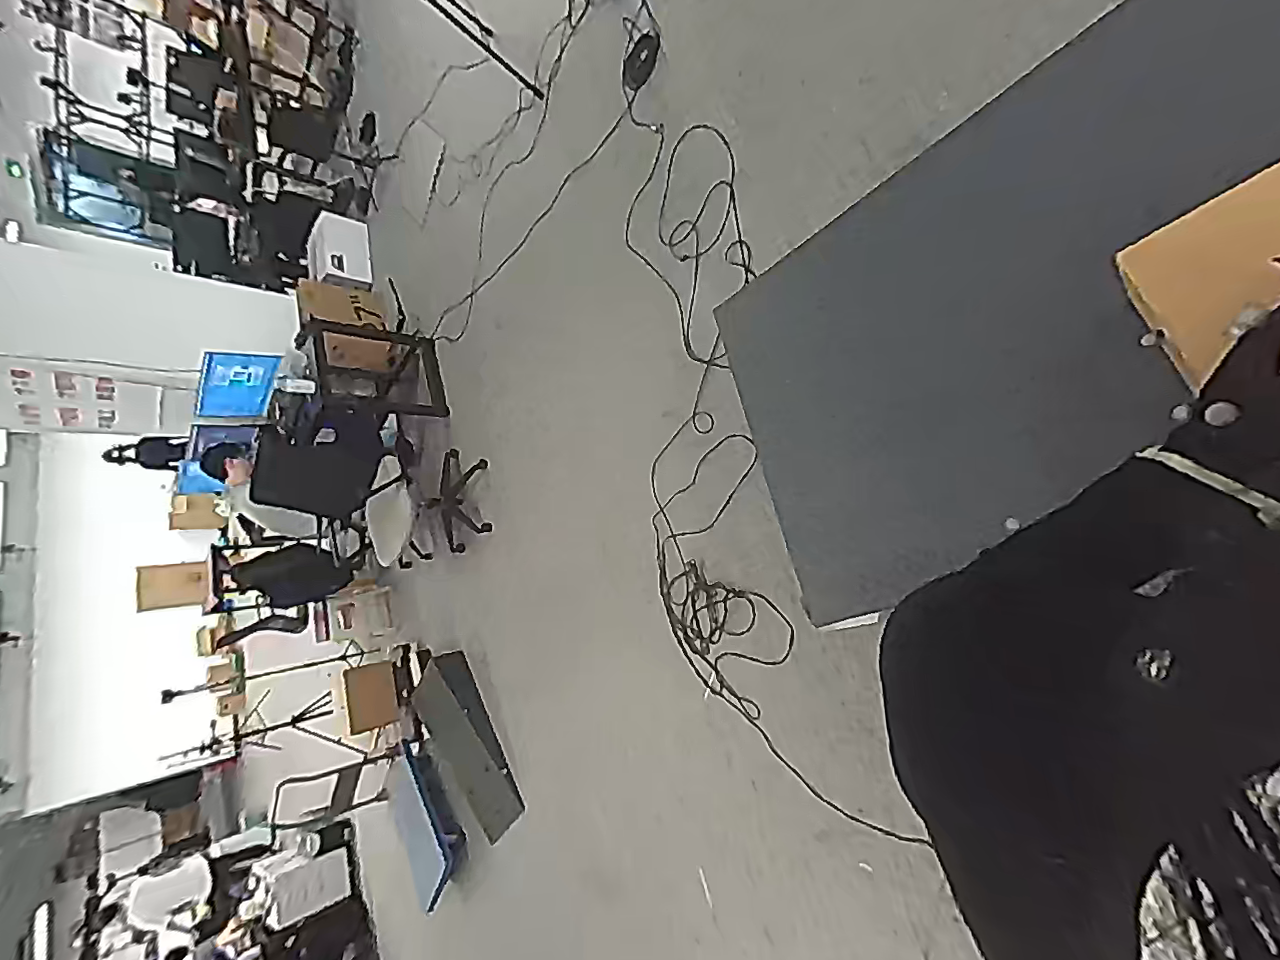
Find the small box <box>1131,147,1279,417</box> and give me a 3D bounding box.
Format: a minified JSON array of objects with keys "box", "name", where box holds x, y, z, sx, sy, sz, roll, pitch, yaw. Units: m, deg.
[{"box":[0.558,-0.168,0.448,0.168,0.176,0.179,-34,66,42],"name":"small box"}]
